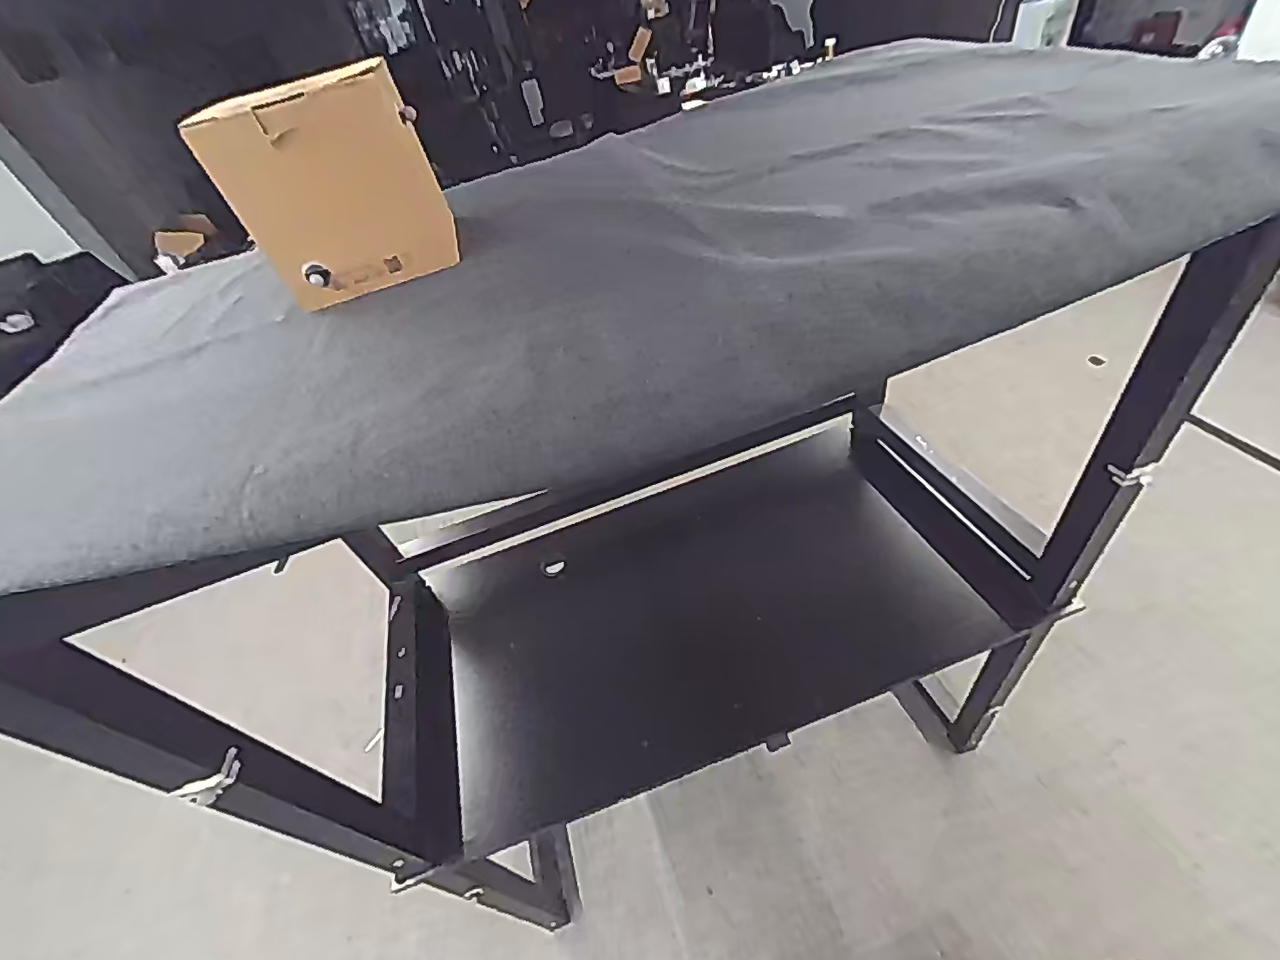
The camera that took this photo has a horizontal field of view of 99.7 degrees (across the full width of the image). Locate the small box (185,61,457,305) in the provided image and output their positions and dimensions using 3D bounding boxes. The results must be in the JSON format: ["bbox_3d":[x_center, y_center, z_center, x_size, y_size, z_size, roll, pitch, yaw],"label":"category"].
[{"bbox_3d":[-0.303,-0.302,0.560,0.168,0.176,0.179,-20,43,-4],"label":"small box"}]
